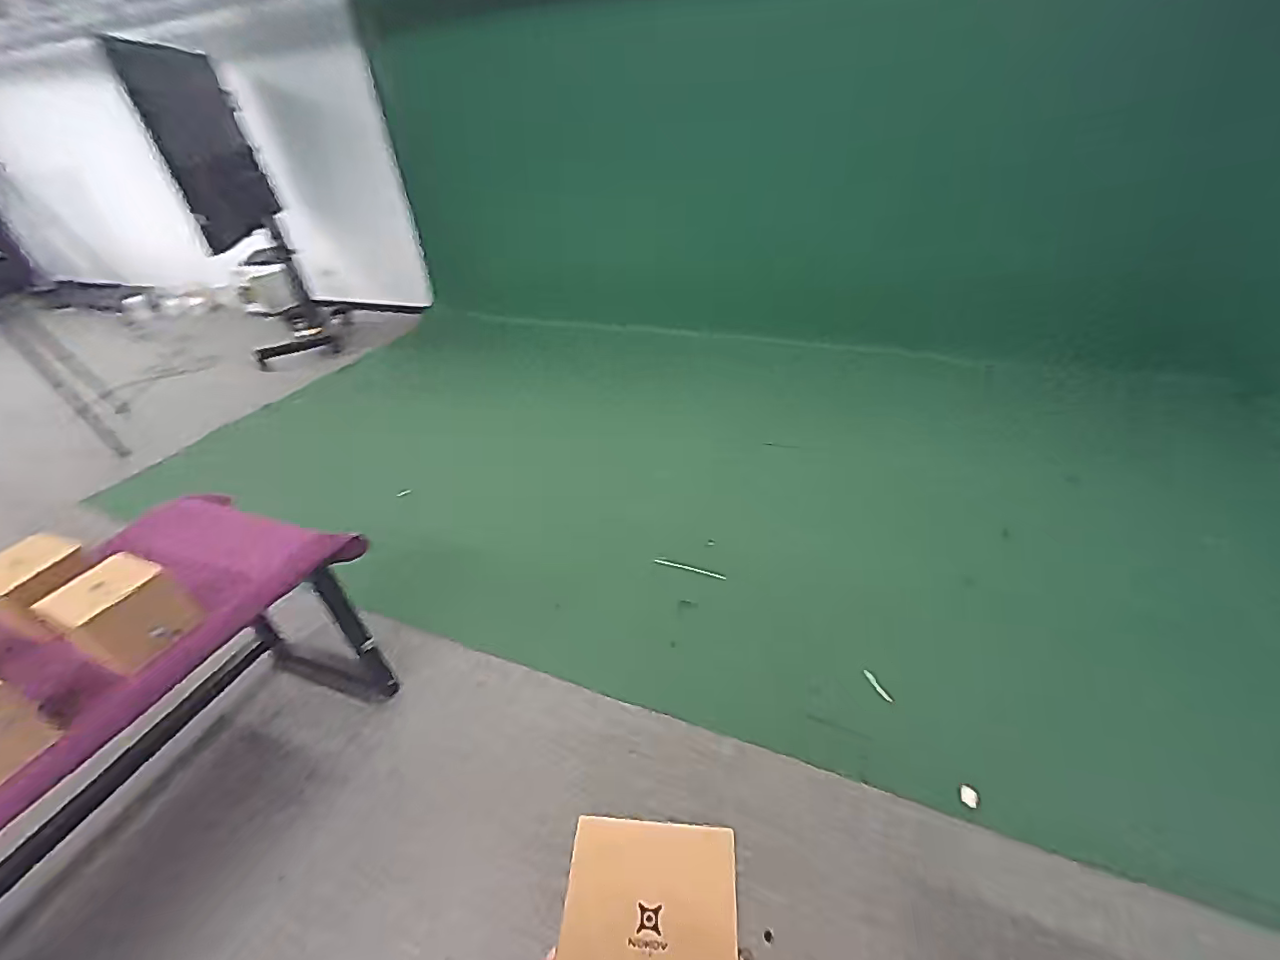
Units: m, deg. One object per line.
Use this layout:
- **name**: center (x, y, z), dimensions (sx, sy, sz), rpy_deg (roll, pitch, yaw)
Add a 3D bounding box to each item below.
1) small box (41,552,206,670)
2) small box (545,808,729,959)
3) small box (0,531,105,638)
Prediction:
- **small box**: center (-1.126, 0.288, 1.191), dimensions (0.179, 0.176, 0.168), rpy_deg (10, 39, 21)
- **small box**: center (0.001, 0.470, 0.554), dimensions (0.168, 0.176, 0.179), rpy_deg (1, 39, 4)
- **small box**: center (-1.399, 0.249, 1.283), dimensions (0.179, 0.176, 0.168), rpy_deg (10, 39, 18)
